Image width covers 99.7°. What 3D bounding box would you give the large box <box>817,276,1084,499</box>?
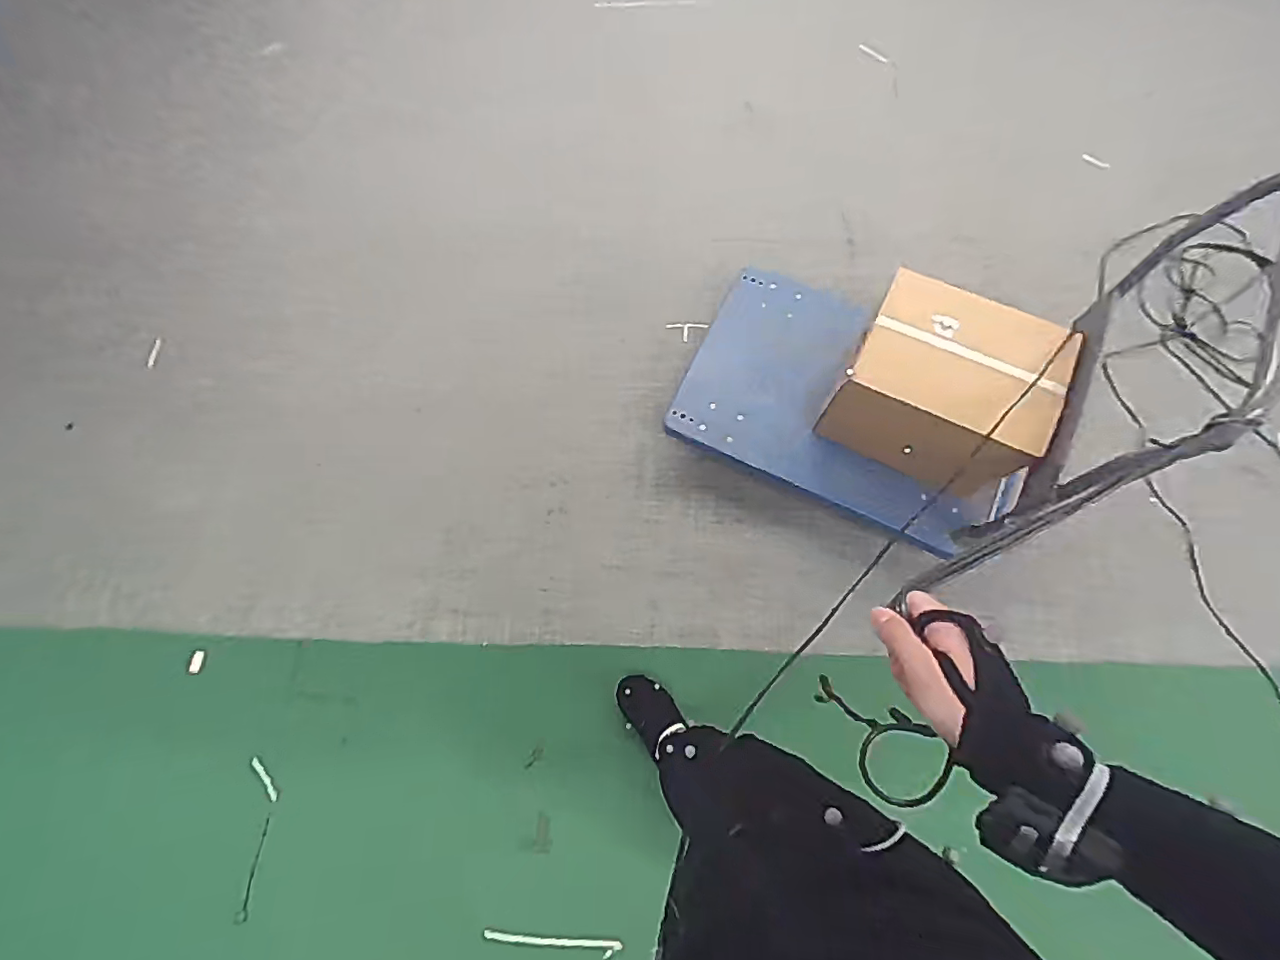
[{"bbox_3d":[0.694,-0.199,1.268,0.408,0.320,0.320,25,75,11],"label":"large box"}]
